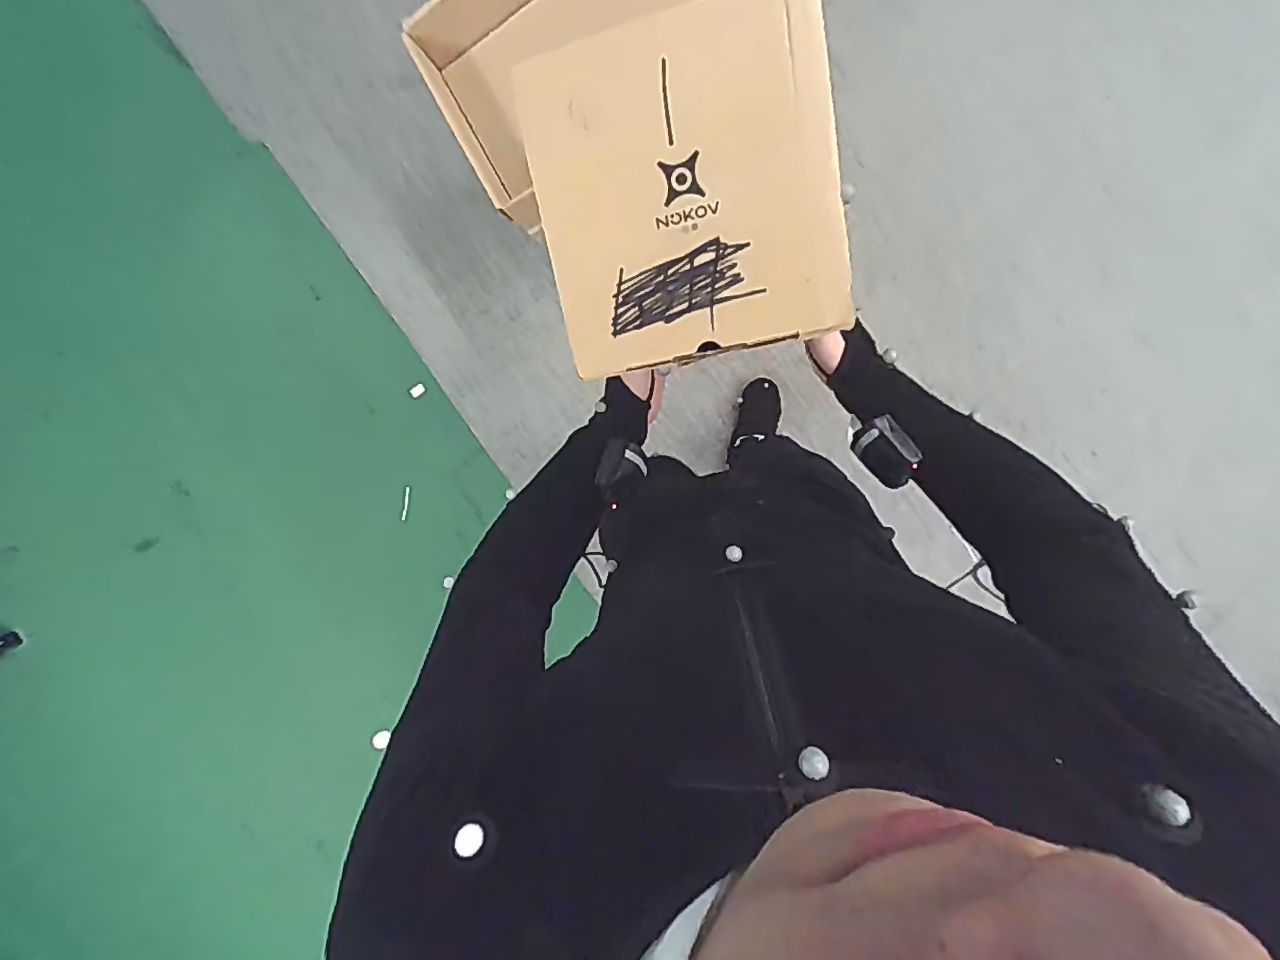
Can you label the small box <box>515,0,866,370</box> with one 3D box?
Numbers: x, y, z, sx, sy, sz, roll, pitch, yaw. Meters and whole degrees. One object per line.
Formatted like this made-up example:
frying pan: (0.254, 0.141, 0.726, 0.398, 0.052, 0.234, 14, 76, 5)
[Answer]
small box: (0.043, -0.182, 0.362, 0.168, 0.176, 0.179, -9, 104, 13)
